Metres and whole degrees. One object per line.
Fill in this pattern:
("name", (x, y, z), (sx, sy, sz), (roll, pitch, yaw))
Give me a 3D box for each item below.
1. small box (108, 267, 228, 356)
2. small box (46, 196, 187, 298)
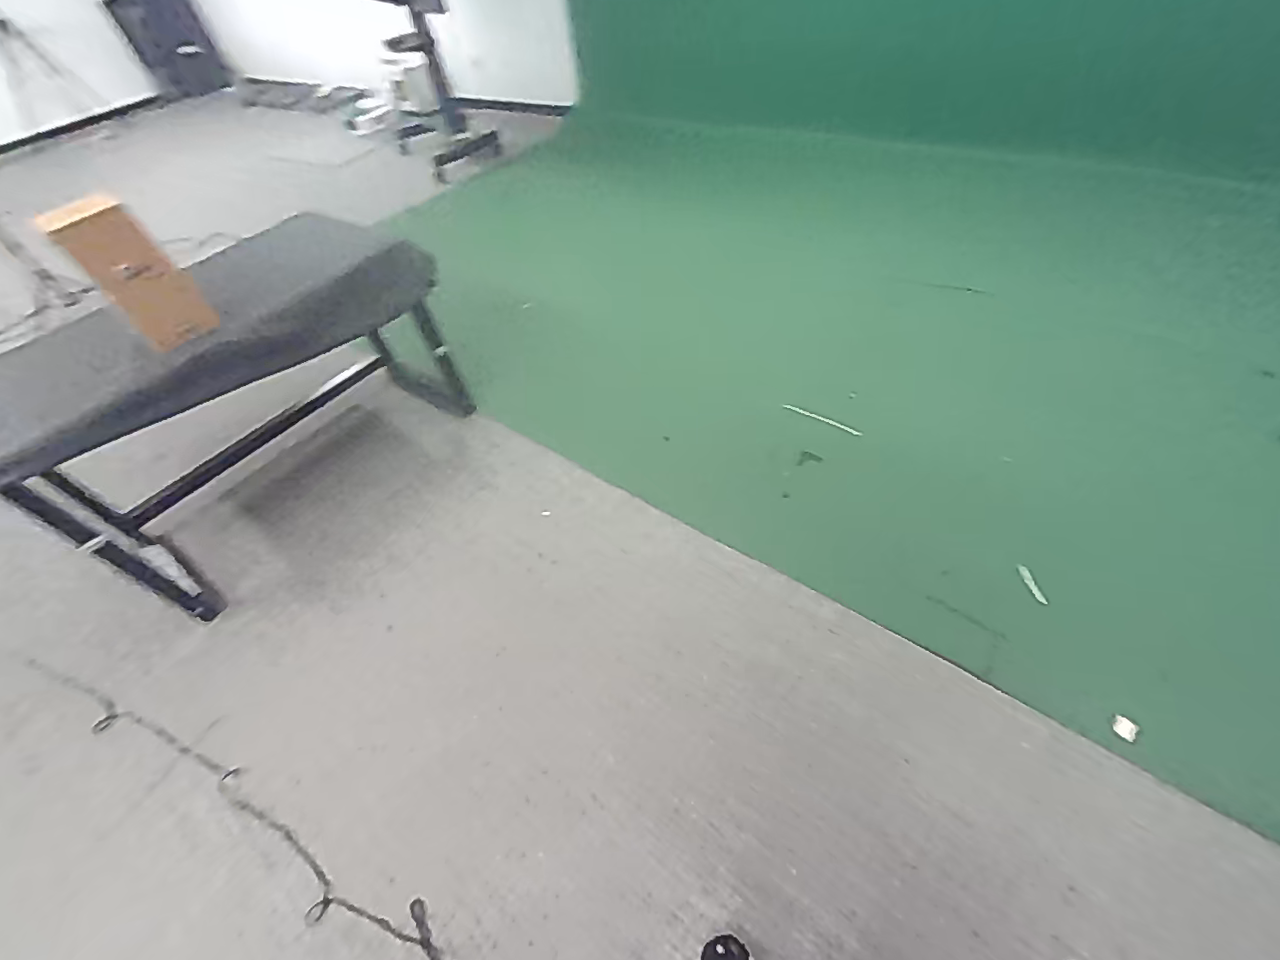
("small box", (-1.262, -0.467, 1.461), (0.168, 0.176, 0.179), (29, 59, 31))
("small box", (-1.293, -0.577, 1.344), (0.179, 0.176, 0.168), (28, 61, 29))
